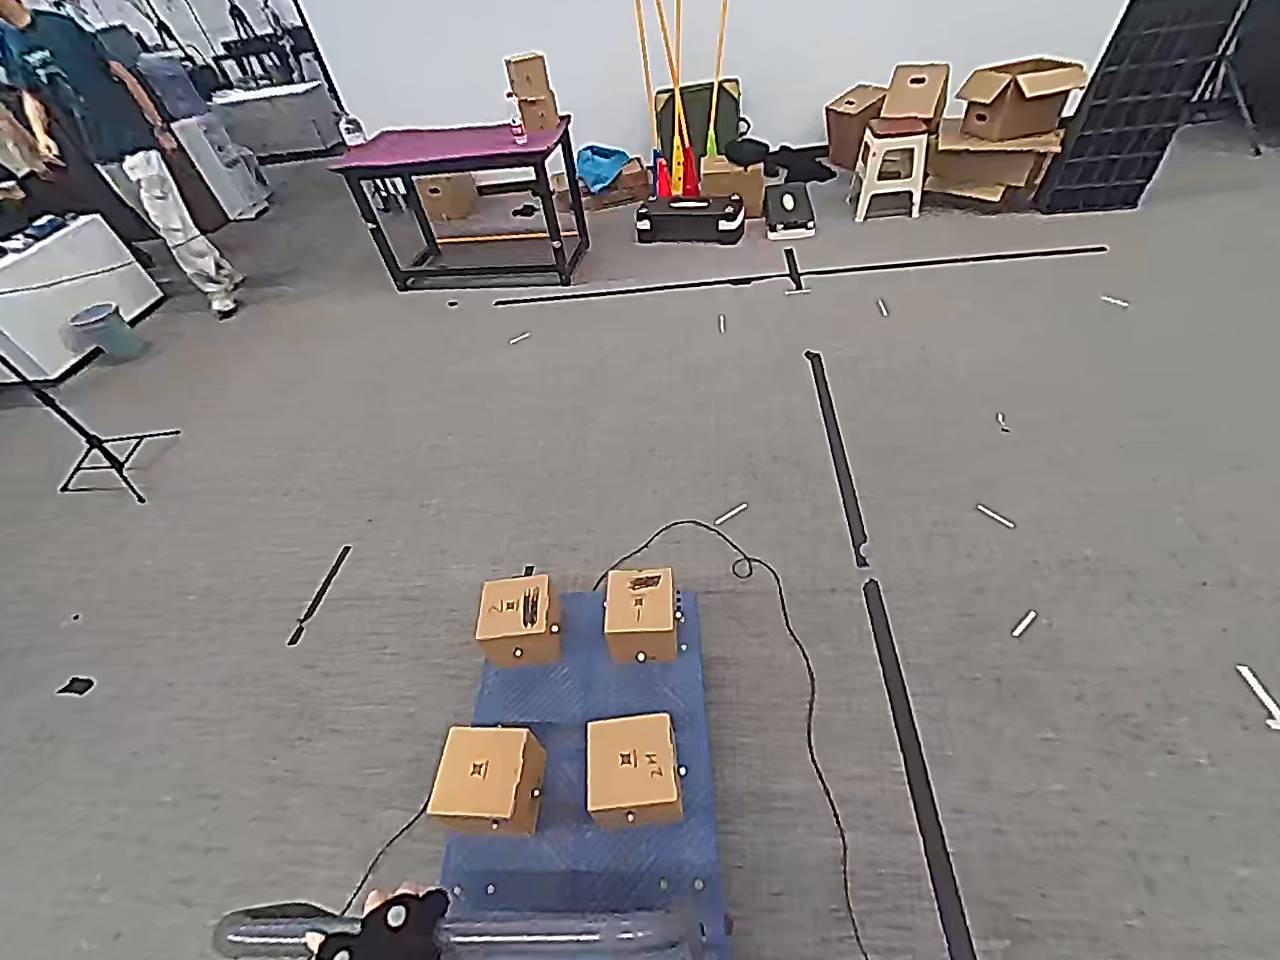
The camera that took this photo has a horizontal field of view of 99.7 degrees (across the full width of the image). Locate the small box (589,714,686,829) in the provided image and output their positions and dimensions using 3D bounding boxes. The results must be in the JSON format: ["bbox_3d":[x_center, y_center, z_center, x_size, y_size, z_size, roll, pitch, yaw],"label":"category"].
[{"bbox_3d":[-0.004,0.613,1.131,0.179,0.176,0.168,-8,46,2],"label":"small box"}]

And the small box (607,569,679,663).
[{"bbox_3d":[0.013,0.348,1.380,0.168,0.176,0.179,-4,47,6],"label":"small box"}]

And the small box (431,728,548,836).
[{"bbox_3d":[-0.311,0.646,1.154,0.179,0.176,0.168,-2,47,6],"label":"small box"}]
